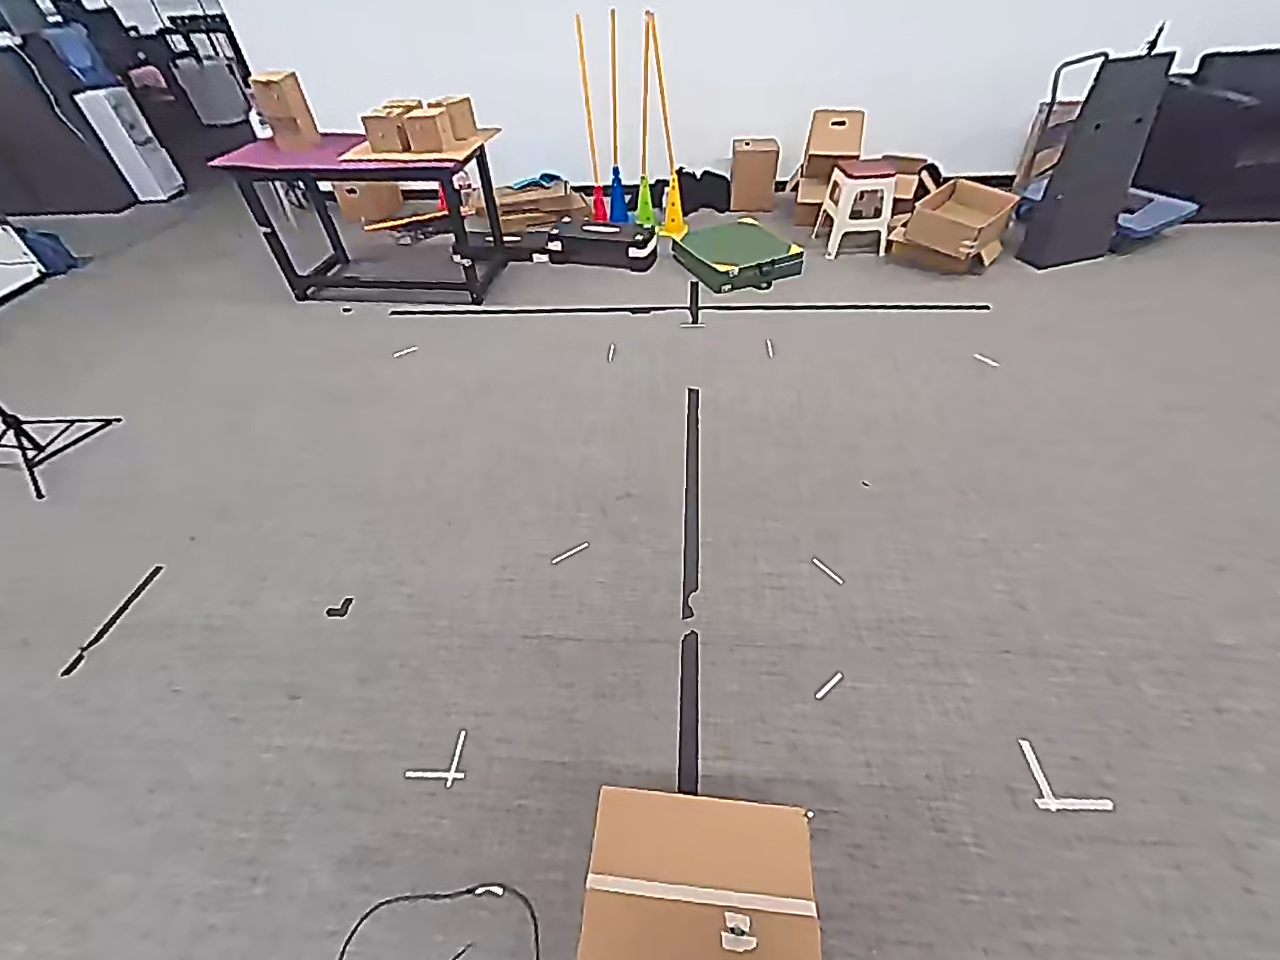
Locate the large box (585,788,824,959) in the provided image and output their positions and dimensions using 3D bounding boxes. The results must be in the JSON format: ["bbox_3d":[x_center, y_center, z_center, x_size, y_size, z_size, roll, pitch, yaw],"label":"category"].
[{"bbox_3d":[0.119,0.844,1.066,0.408,0.320,0.320,3,45,6],"label":"large box"}]
